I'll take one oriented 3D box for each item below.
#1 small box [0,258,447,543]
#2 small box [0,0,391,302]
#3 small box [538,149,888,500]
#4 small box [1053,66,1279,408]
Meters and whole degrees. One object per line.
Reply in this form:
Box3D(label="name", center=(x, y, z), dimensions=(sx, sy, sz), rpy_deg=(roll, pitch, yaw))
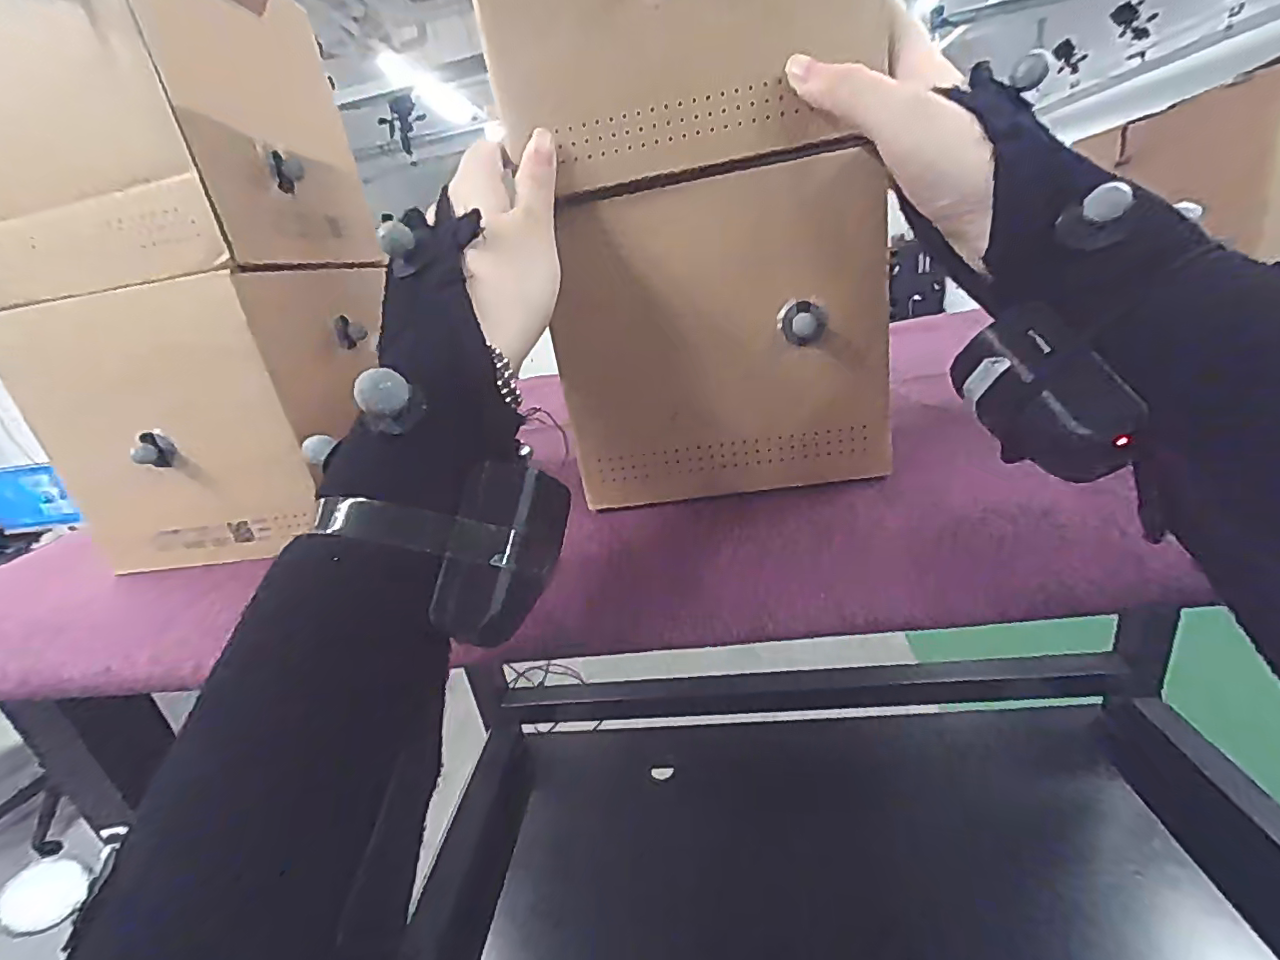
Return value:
Box3D(label="small box", center=(-0.266, -0.062, 0.402), dimensions=(0.168, 0.176, 0.179), rpy_deg=(-6, 21, 7))
Box3D(label="small box", center=(-0.296, -0.210, 0.343), dimensions=(0.179, 0.176, 0.168), rpy_deg=(-7, 22, 5))
Box3D(label="small box", center=(0.051, -0.097, 0.367), dimensions=(0.179, 0.176, 0.168), rpy_deg=(-8, 18, 7))
Box3D(label="small box", center=(0.395, -0.146, 0.335), dimensions=(0.179, 0.176, 0.168), rpy_deg=(-6, 19, 10))
